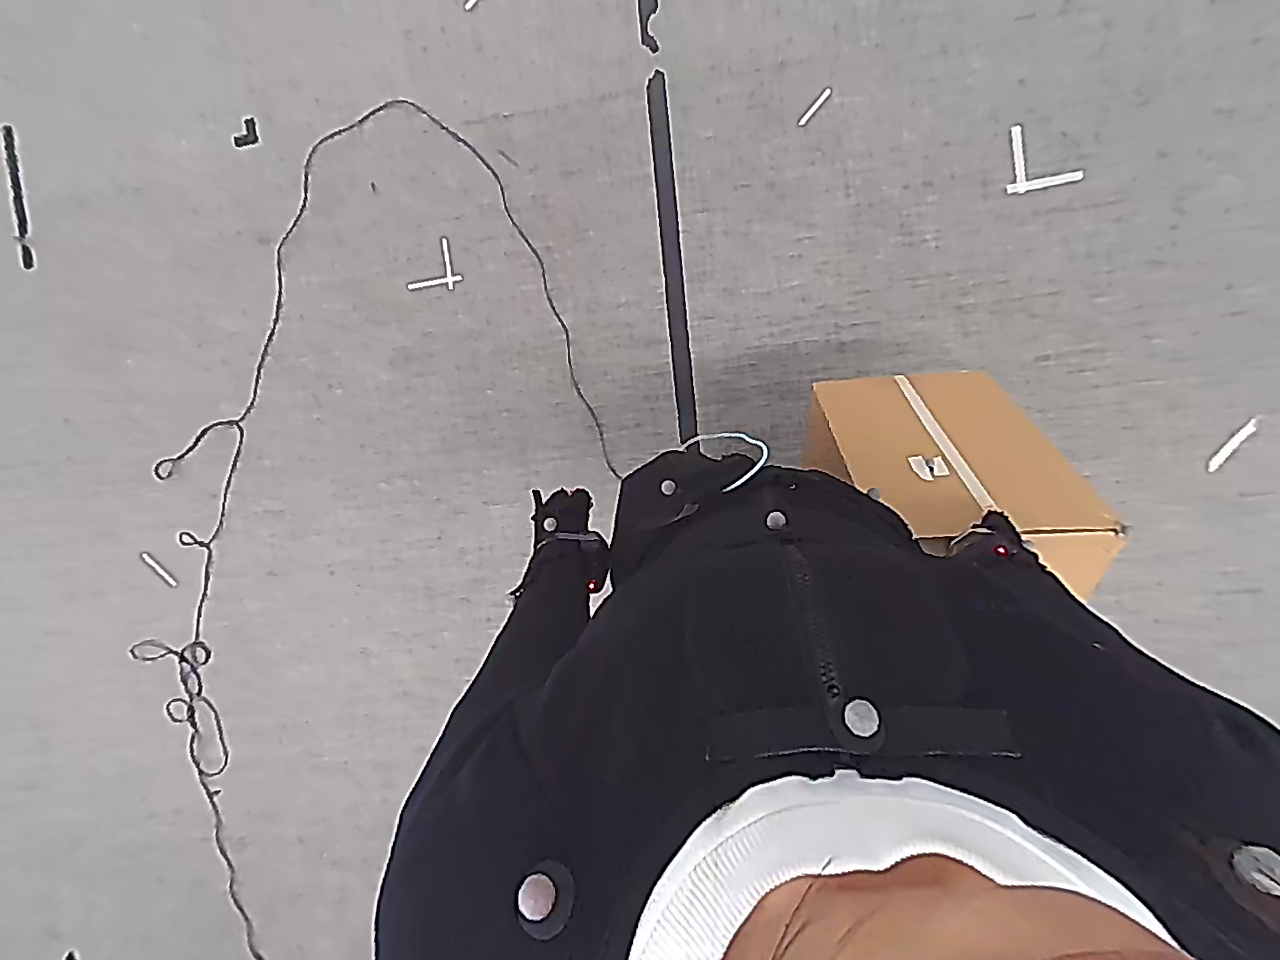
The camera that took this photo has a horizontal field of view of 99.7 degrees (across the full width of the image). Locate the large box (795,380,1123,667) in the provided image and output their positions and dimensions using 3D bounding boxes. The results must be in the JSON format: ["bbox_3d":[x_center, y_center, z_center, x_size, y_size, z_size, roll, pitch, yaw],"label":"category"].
[{"bbox_3d":[0.482,0.065,0.948,0.320,0.408,0.320,-3,131,4],"label":"large box"}]
